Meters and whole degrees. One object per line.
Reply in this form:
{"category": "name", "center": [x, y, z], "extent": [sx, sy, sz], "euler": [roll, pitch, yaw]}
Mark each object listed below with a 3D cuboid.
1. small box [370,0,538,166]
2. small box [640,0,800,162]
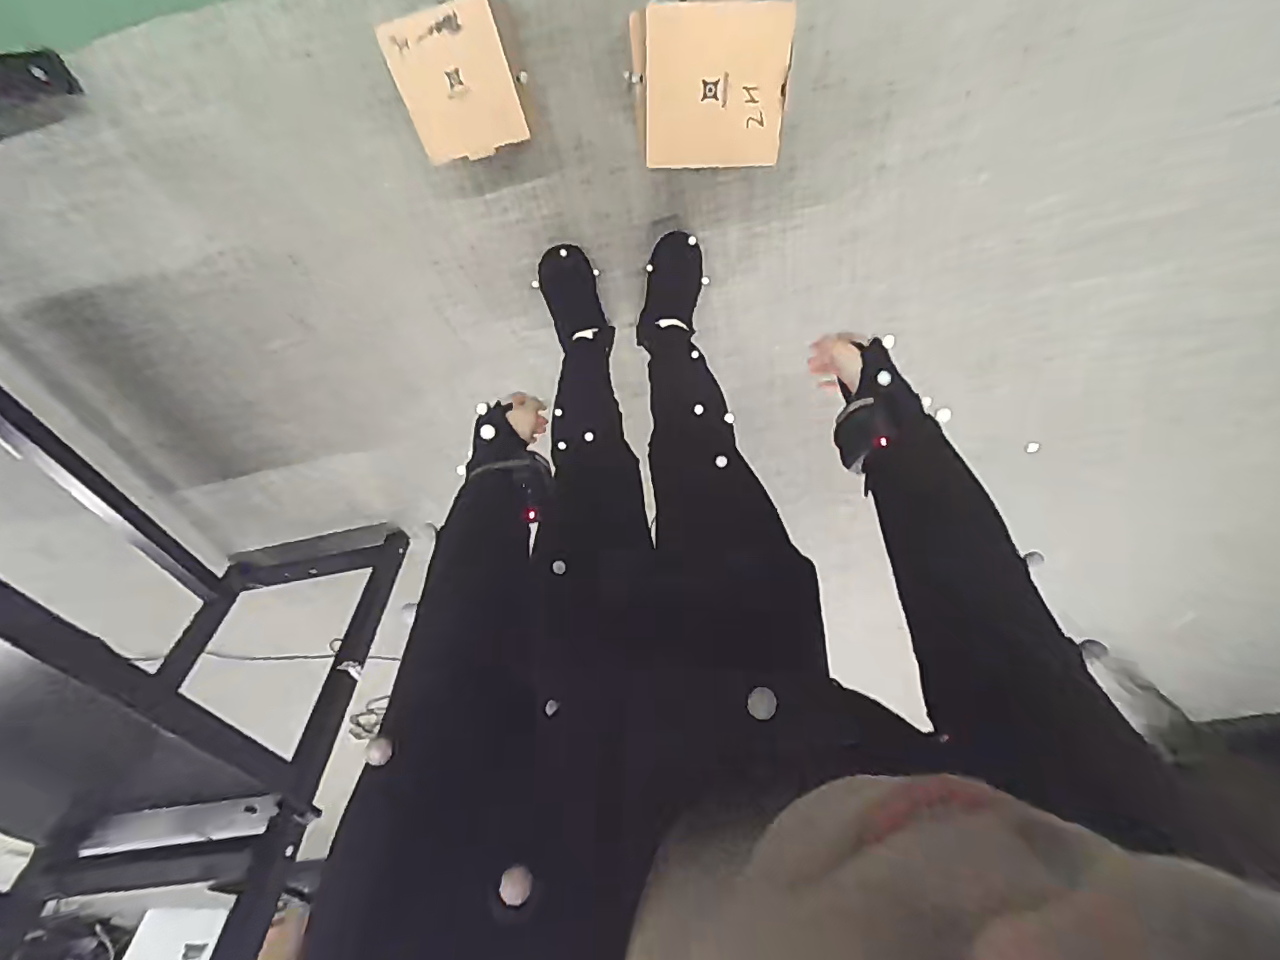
{"category": "small box", "center": [-0.265, -0.613, 0.824], "extent": [0.168, 0.176, 0.179], "euler": [-12, 130, 7]}
{"category": "small box", "center": [0.088, -0.523, 0.702], "extent": [0.179, 0.176, 0.168], "euler": [-2, 132, -1]}
